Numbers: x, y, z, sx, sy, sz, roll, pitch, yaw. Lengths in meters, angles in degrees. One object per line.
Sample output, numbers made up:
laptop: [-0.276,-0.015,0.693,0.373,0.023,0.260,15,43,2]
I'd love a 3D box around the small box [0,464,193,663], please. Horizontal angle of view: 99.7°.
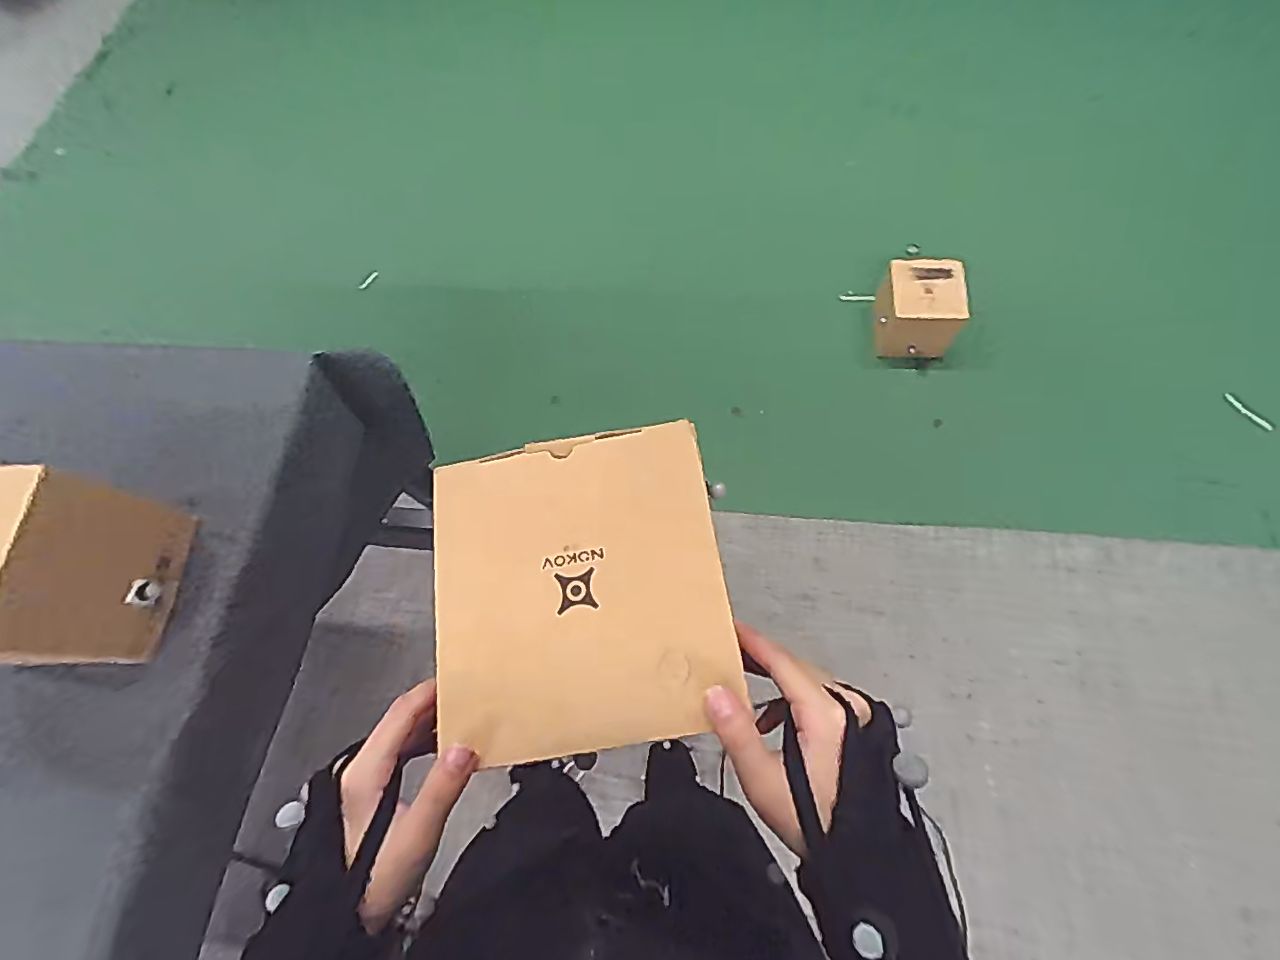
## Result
small box: [-0.615,0.093,0.540,0.179,0.176,0.168,-3,70,5]

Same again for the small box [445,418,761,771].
small box: [-0.020,0.082,0.376,0.168,0.176,0.179,-10,69,3]
